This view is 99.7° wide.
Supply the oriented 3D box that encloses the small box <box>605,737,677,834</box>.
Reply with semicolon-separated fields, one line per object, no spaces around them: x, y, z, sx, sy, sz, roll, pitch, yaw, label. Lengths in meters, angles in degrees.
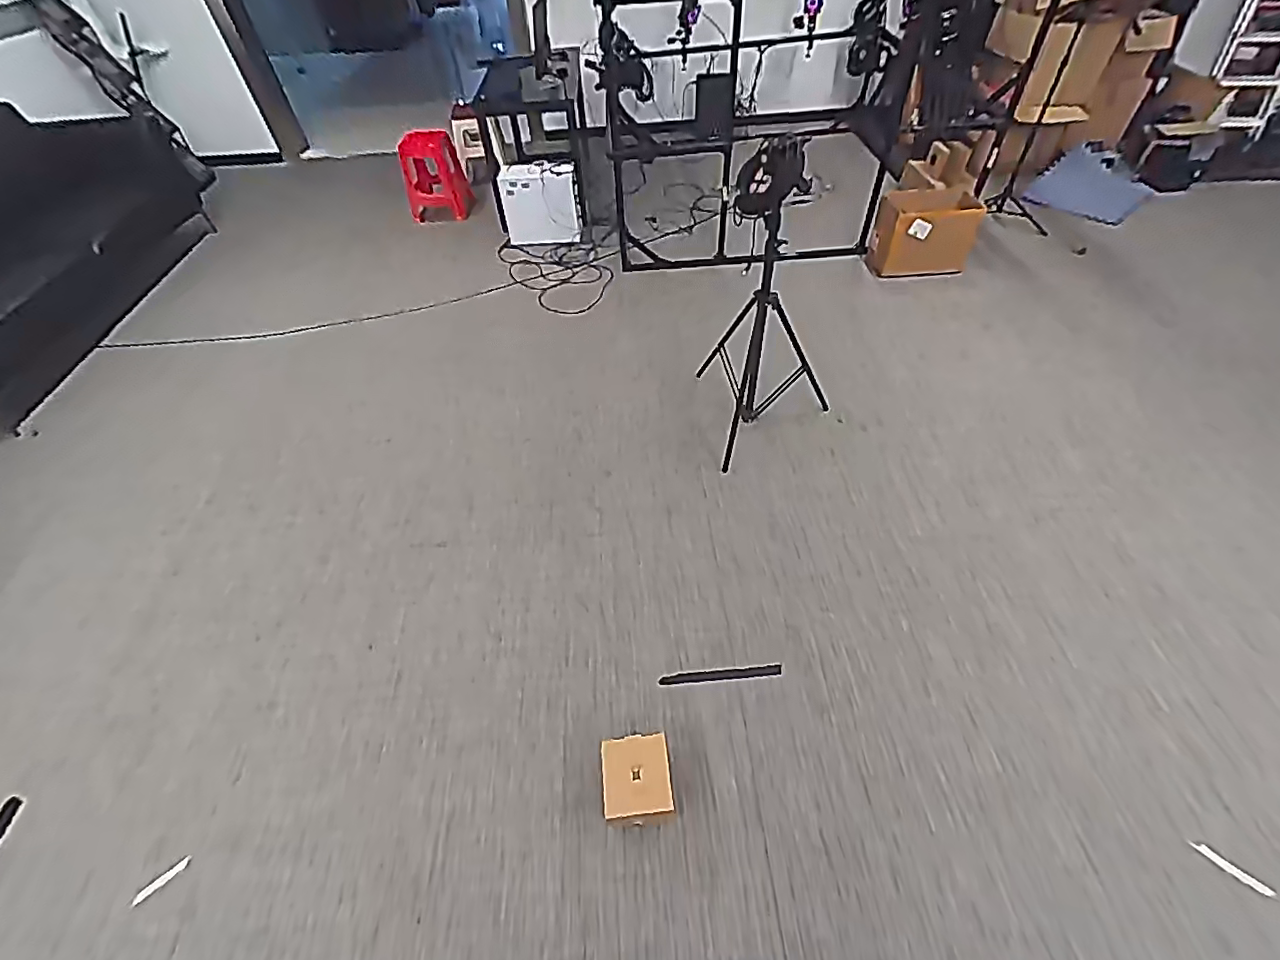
0.001;0.779;1.378;0.168;0.176;0.179;-7;49;-1;small box
